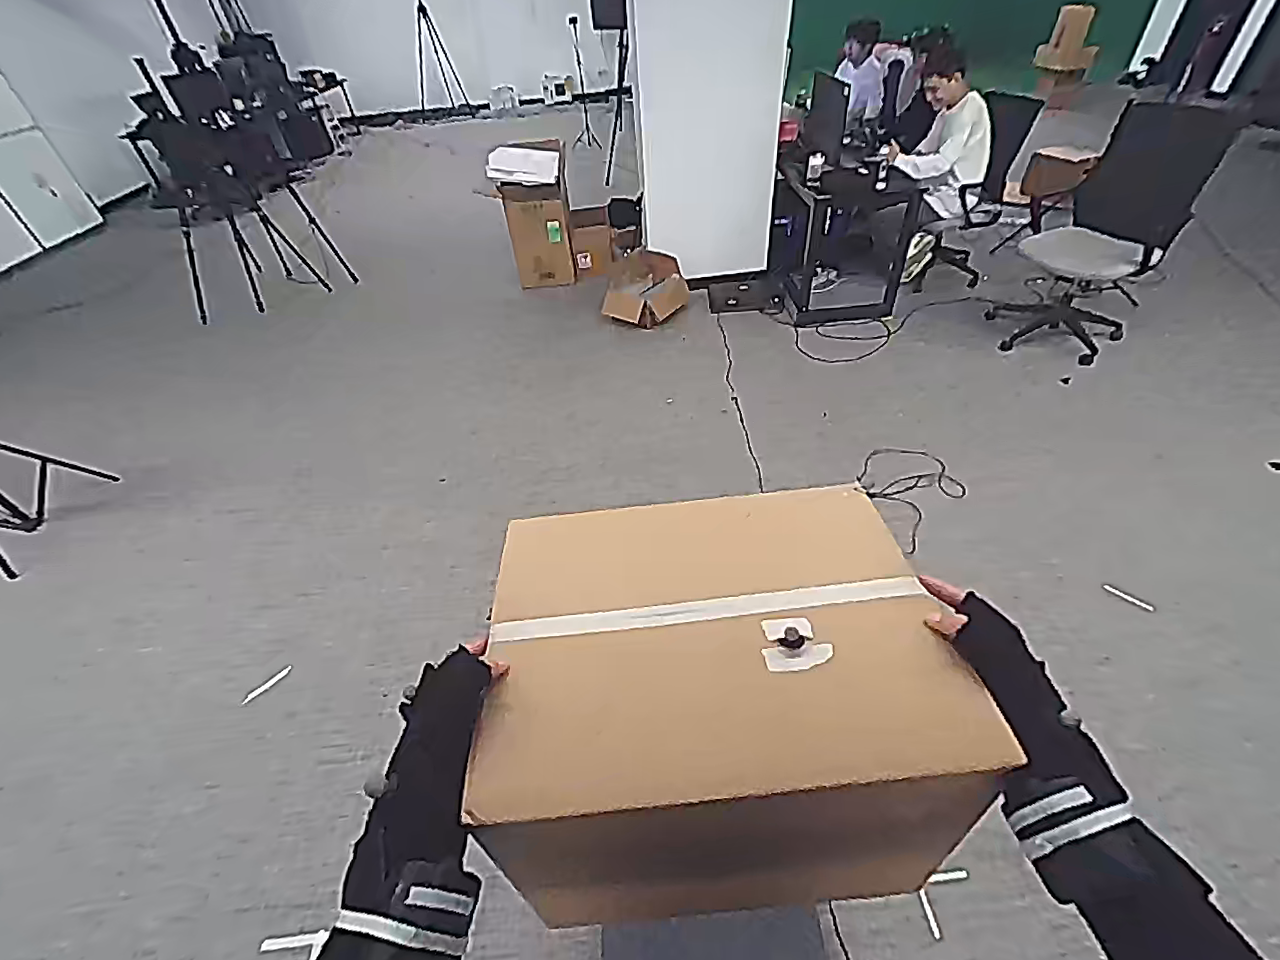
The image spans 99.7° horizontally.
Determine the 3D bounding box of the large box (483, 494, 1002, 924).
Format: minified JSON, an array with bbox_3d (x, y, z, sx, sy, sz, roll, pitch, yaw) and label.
[{"bbox_3d":[0.077,0.248,0.610,0.408,0.320,0.320,-6,39,0],"label":"large box"}]
